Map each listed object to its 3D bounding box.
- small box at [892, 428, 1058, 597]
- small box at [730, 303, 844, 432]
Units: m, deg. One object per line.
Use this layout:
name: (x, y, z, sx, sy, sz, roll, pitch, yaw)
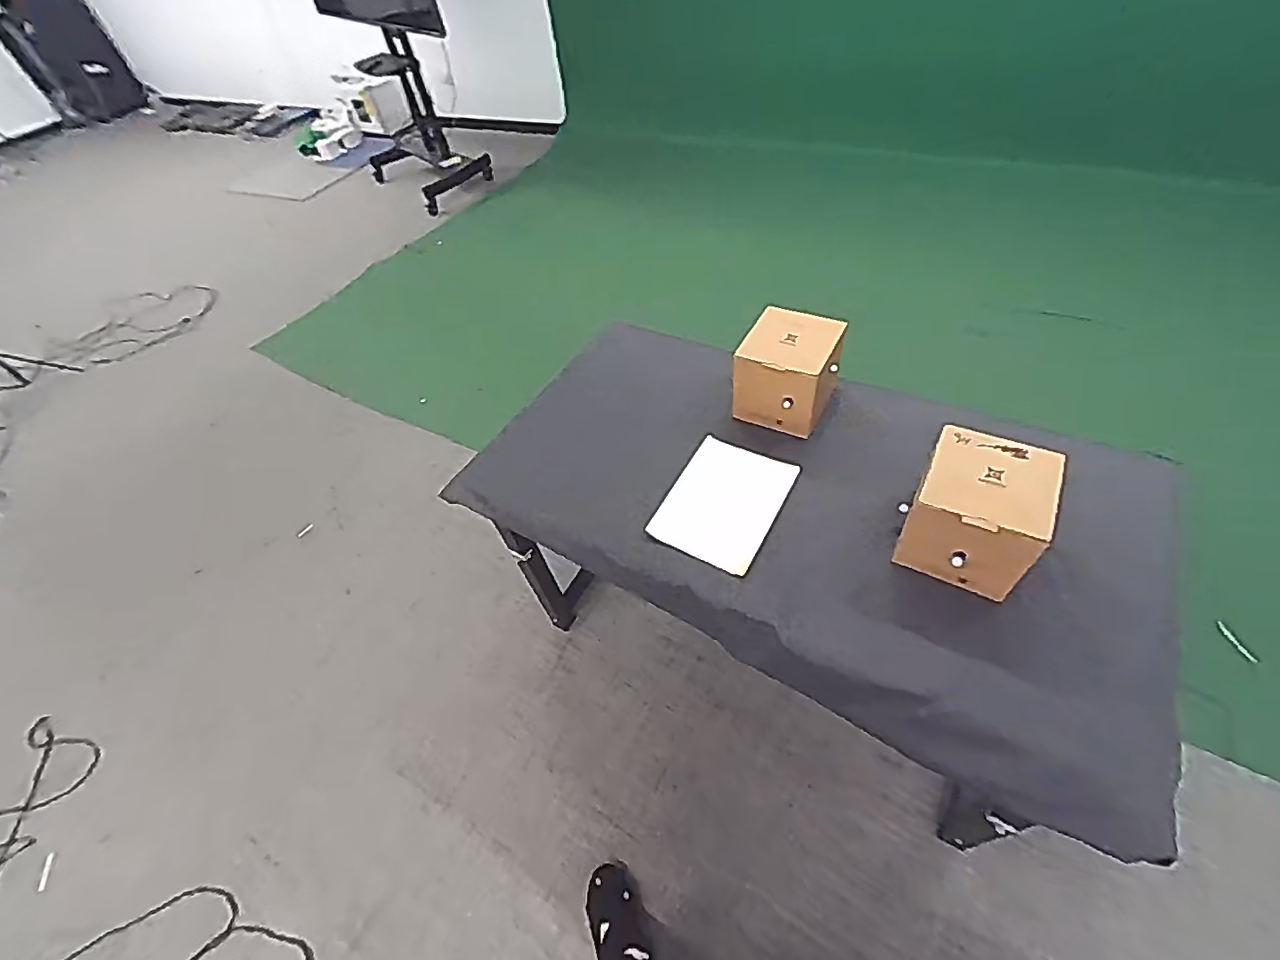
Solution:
small box: (0.514, 0.055, 0.850, 0.168, 0.176, 0.179, 22, 58, 24)
small box: (0.293, -0.225, 1.094, 0.168, 0.176, 0.179, 21, 56, 22)
